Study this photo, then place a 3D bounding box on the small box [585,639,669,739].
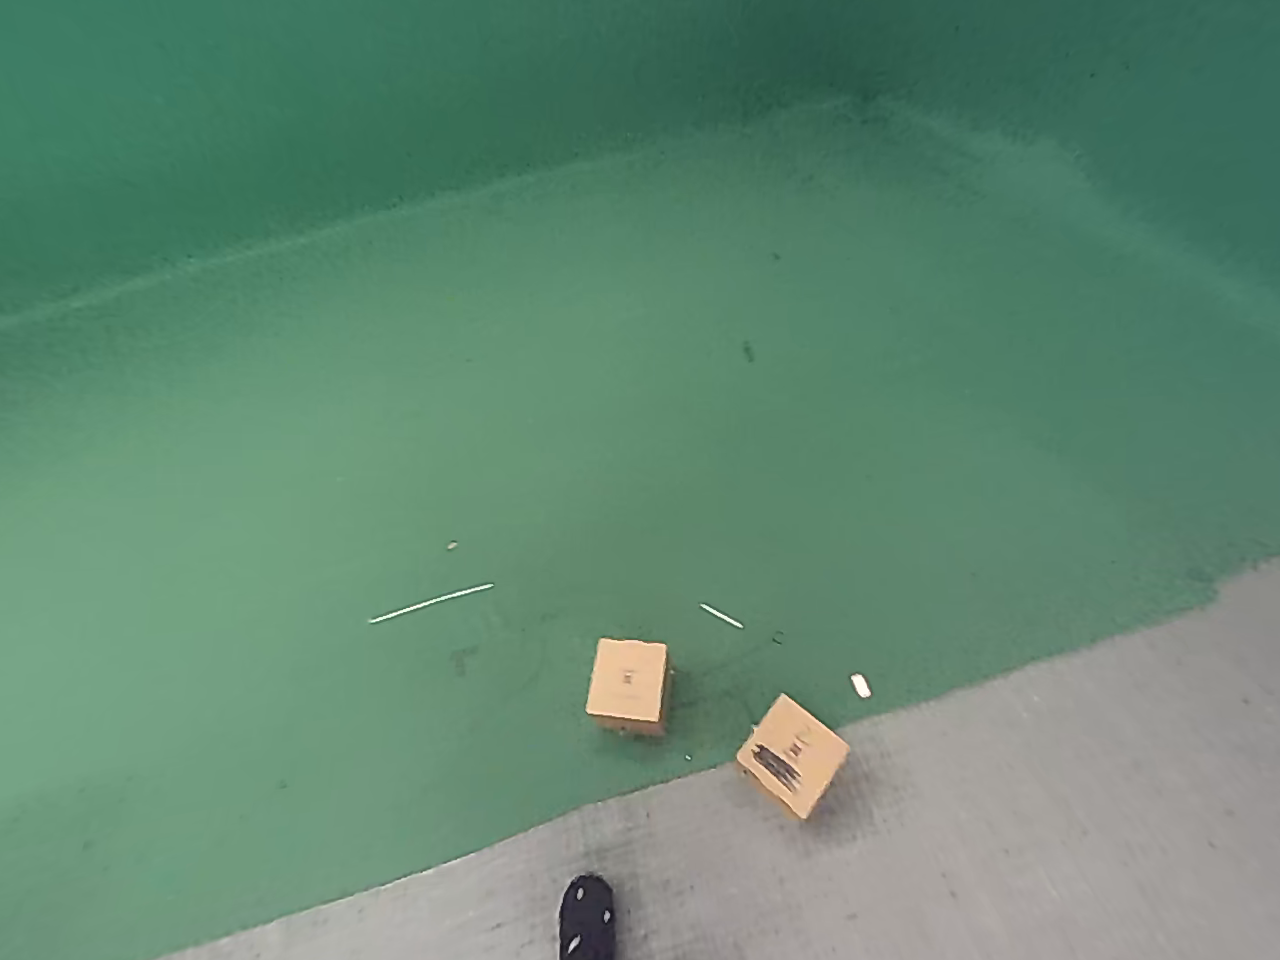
[{"bbox_3d":[-0.022,0.506,1.309,0.168,0.176,0.179,3,55,11],"label":"small box"}]
